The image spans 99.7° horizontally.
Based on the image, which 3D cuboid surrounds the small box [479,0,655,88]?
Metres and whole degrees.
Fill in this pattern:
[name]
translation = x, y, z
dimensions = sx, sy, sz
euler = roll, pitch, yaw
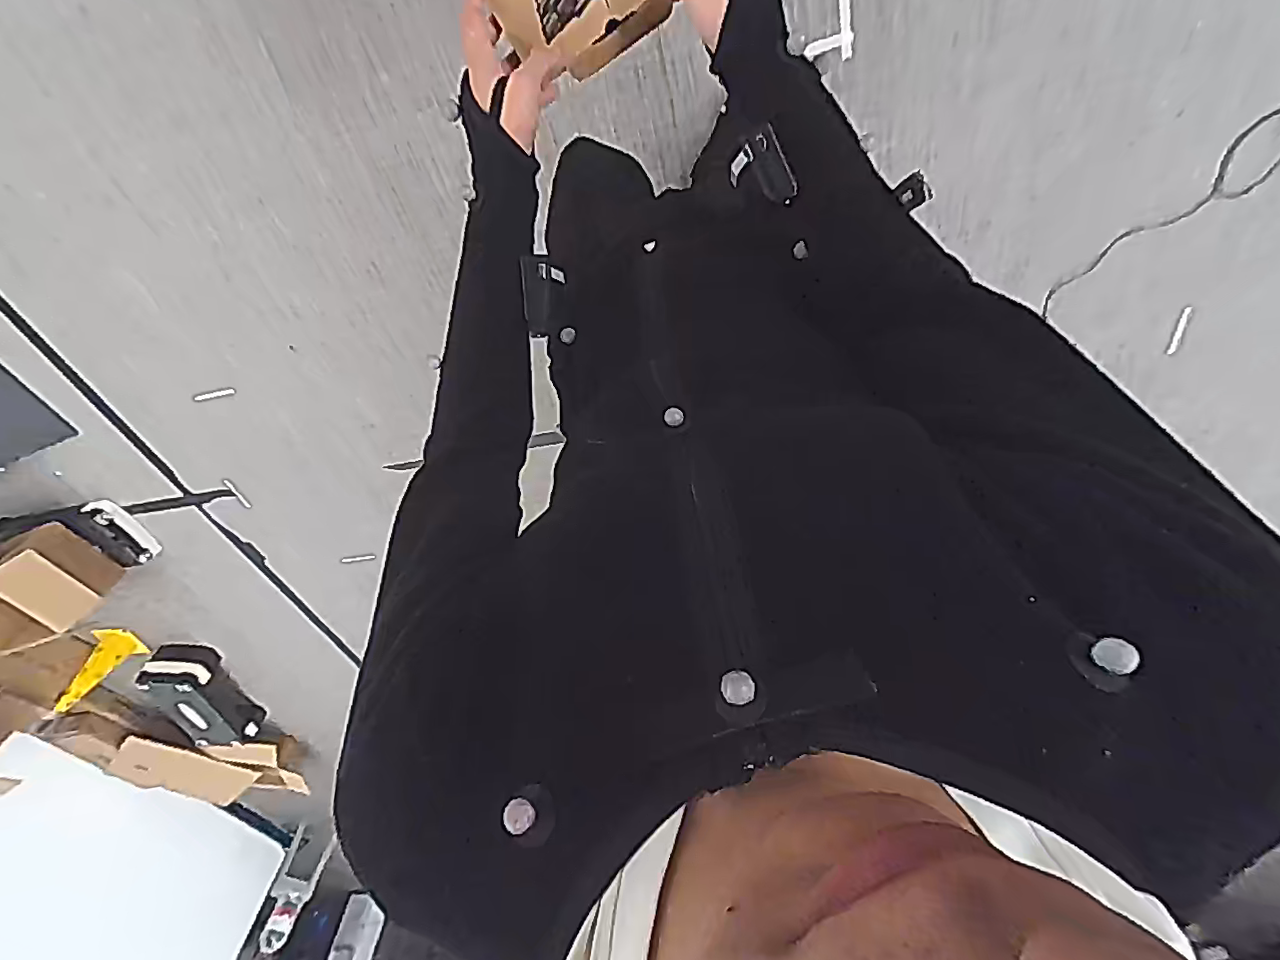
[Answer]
[small box]
translation = -0.066, -0.491, 0.465
dimensions = 0.168, 0.176, 0.179
euler = -21, 130, 23
